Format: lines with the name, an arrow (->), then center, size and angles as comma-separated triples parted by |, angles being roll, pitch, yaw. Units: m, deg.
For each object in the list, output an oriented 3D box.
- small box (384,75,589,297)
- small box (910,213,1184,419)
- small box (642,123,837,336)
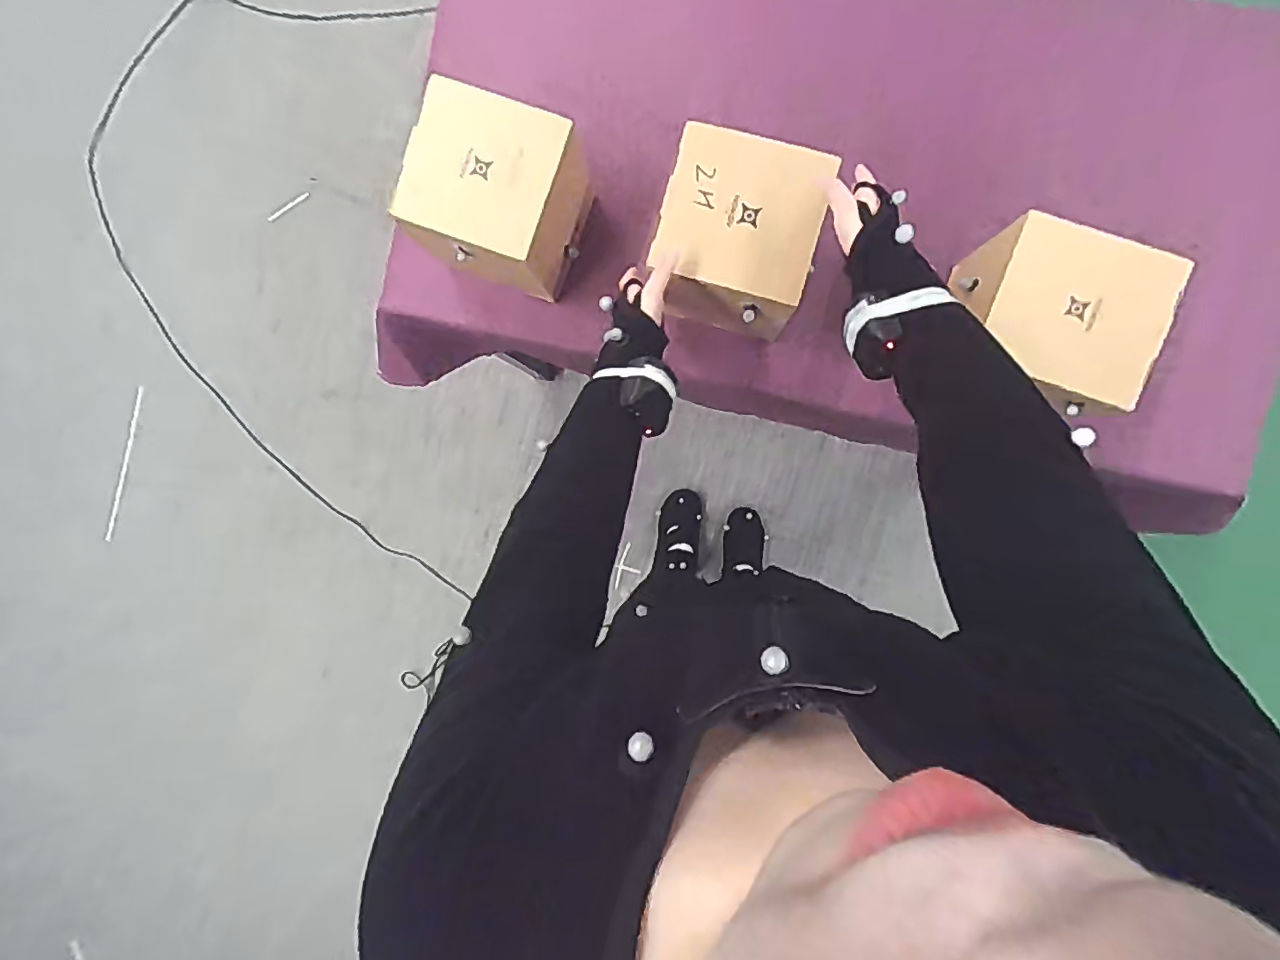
small box -> -0.181, -0.355, 0.690 | 0.179, 0.176, 0.168 | 21, 94, 2
small box -> 0.459, -0.179, 0.646 | 0.179, 0.176, 0.168 | 20, 93, 3
small box -> 0.113, -0.290, 0.667 | 0.179, 0.176, 0.168 | 16, 92, 4
